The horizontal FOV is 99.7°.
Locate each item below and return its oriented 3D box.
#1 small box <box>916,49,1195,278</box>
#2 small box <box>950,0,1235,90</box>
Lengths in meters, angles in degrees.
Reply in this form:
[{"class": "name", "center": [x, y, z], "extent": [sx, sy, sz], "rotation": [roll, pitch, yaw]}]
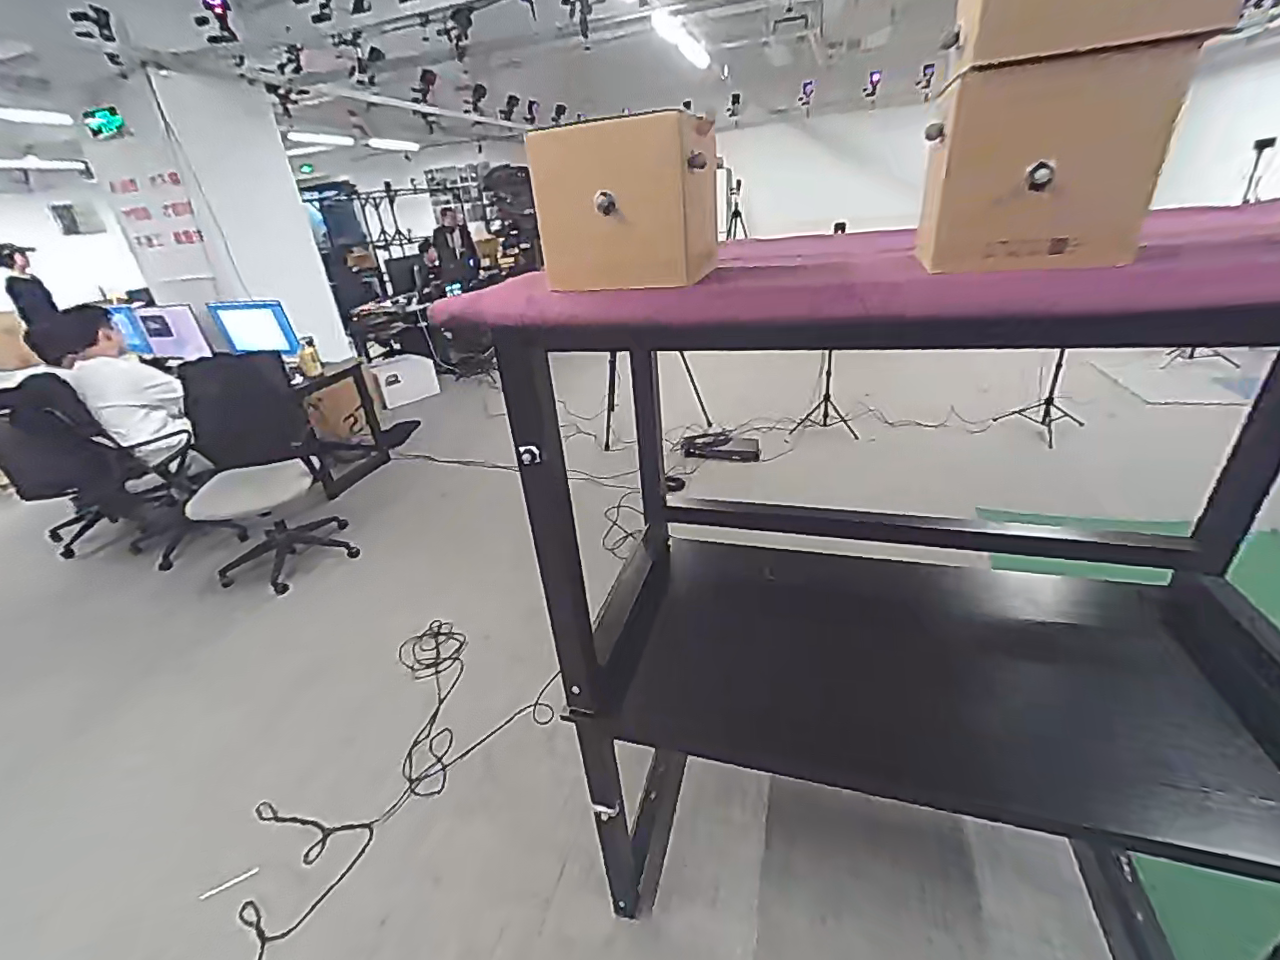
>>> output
[{"class": "small box", "center": [0.387, -0.303, 0.546], "extent": [0.168, 0.176, 0.179], "rotation": [6, 29, 19]}, {"class": "small box", "center": [0.381, -0.440, 0.458], "extent": [0.179, 0.176, 0.168], "rotation": [5, 28, 20]}]
